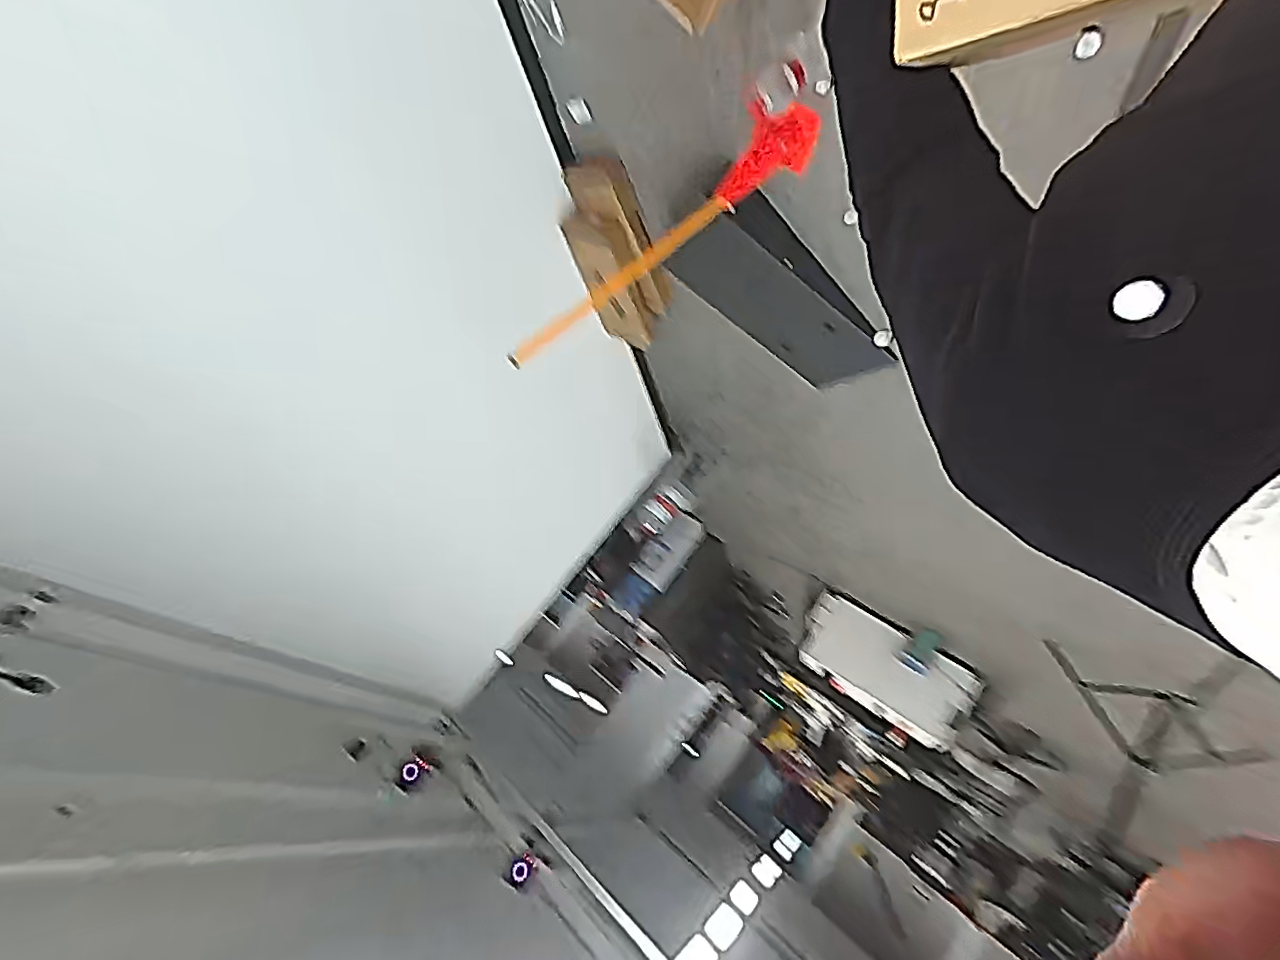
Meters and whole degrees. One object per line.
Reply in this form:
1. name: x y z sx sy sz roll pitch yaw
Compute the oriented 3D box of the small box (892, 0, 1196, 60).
1. small box: 0.264 -0.363 0.307 0.179 0.176 0.168 13 126 38
